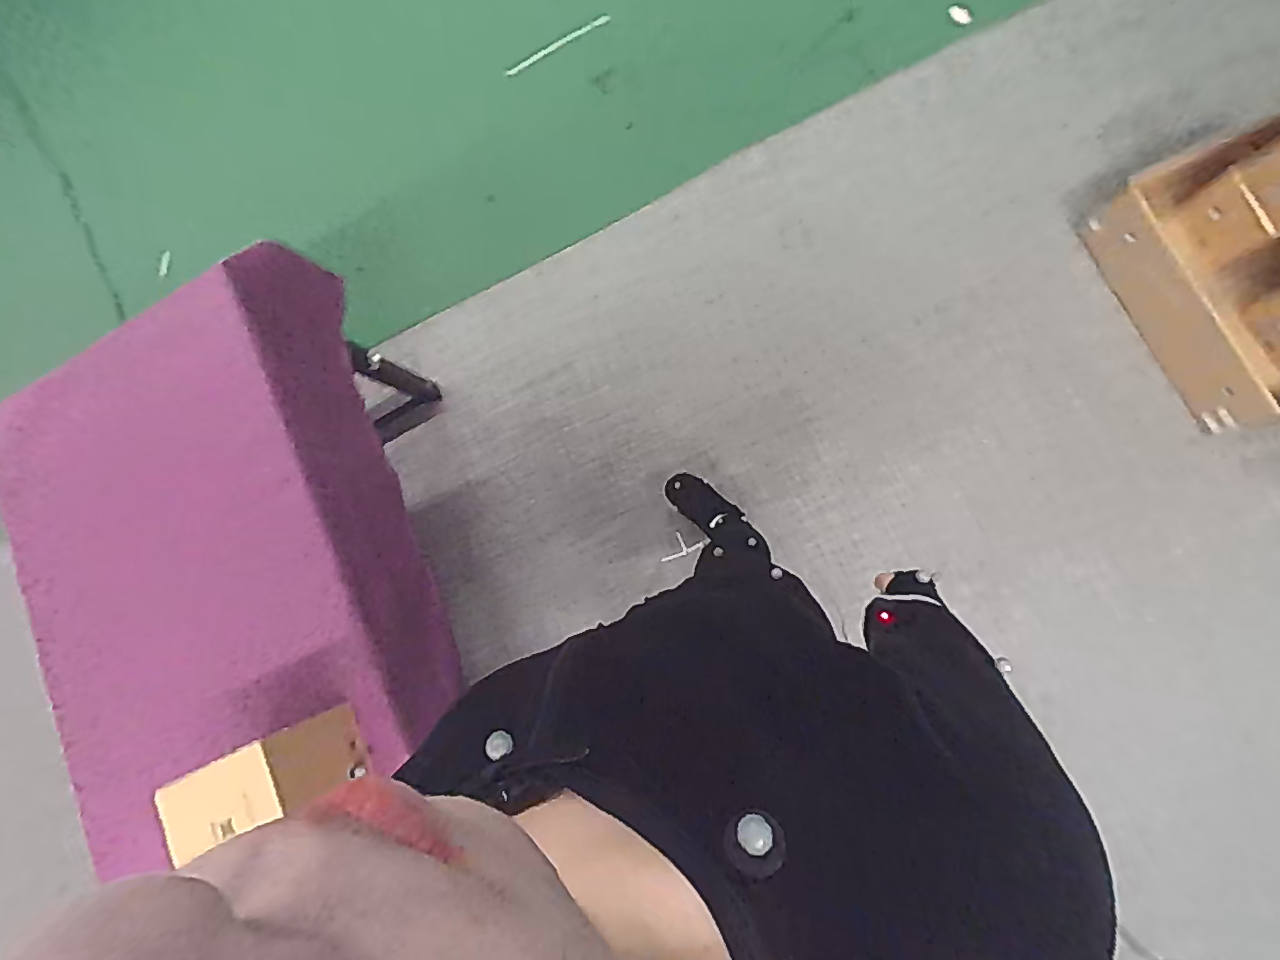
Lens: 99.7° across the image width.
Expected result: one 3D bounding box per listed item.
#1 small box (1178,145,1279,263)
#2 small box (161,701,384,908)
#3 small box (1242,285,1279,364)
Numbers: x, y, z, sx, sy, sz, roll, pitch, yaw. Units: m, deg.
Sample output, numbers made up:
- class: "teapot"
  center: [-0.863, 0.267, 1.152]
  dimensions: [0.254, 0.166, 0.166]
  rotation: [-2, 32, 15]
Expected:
- class: "small box"
  center: [1.387, -0.624, 1.222]
  dimensions: [0.179, 0.176, 0.168]
  rotation: [-21, 82, 8]
- class: "small box"
  center: [-0.510, 0.444, 0.769]
  dimensions: [0.179, 0.176, 0.168]
  rotation: [-27, 81, 6]
- class: "small box"
  center: [1.494, -0.376, 1.176]
  dimensions: [0.179, 0.176, 0.168]
  rotation: [-25, 80, 8]
